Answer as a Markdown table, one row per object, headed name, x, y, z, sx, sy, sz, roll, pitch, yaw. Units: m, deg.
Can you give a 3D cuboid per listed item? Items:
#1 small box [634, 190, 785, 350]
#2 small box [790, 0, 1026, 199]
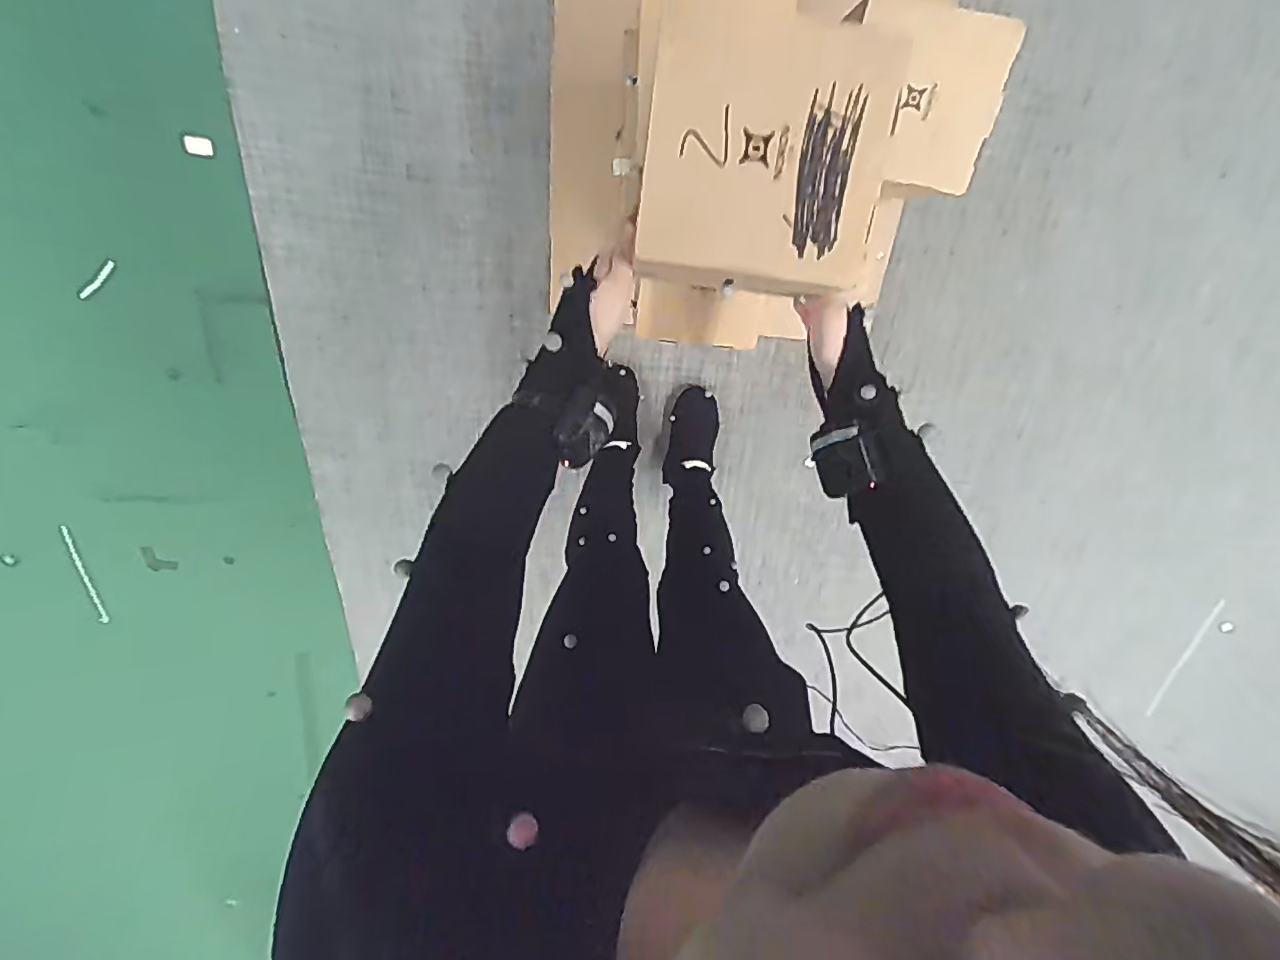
| name | x | y | z | sx | sy | sz | roll | pitch | yaw |
| --- | --- | --- | --- | --- | --- | --- | --- | --- | --- |
| small box | 0.081 | -0.293 | 0.746 | 0.168 | 0.176 | 0.179 | 4 | 118 | -4 |
| small box | 0.308 | -0.454 | 0.667 | 0.179 | 0.176 | 0.168 | 8 | 116 | -5 |
